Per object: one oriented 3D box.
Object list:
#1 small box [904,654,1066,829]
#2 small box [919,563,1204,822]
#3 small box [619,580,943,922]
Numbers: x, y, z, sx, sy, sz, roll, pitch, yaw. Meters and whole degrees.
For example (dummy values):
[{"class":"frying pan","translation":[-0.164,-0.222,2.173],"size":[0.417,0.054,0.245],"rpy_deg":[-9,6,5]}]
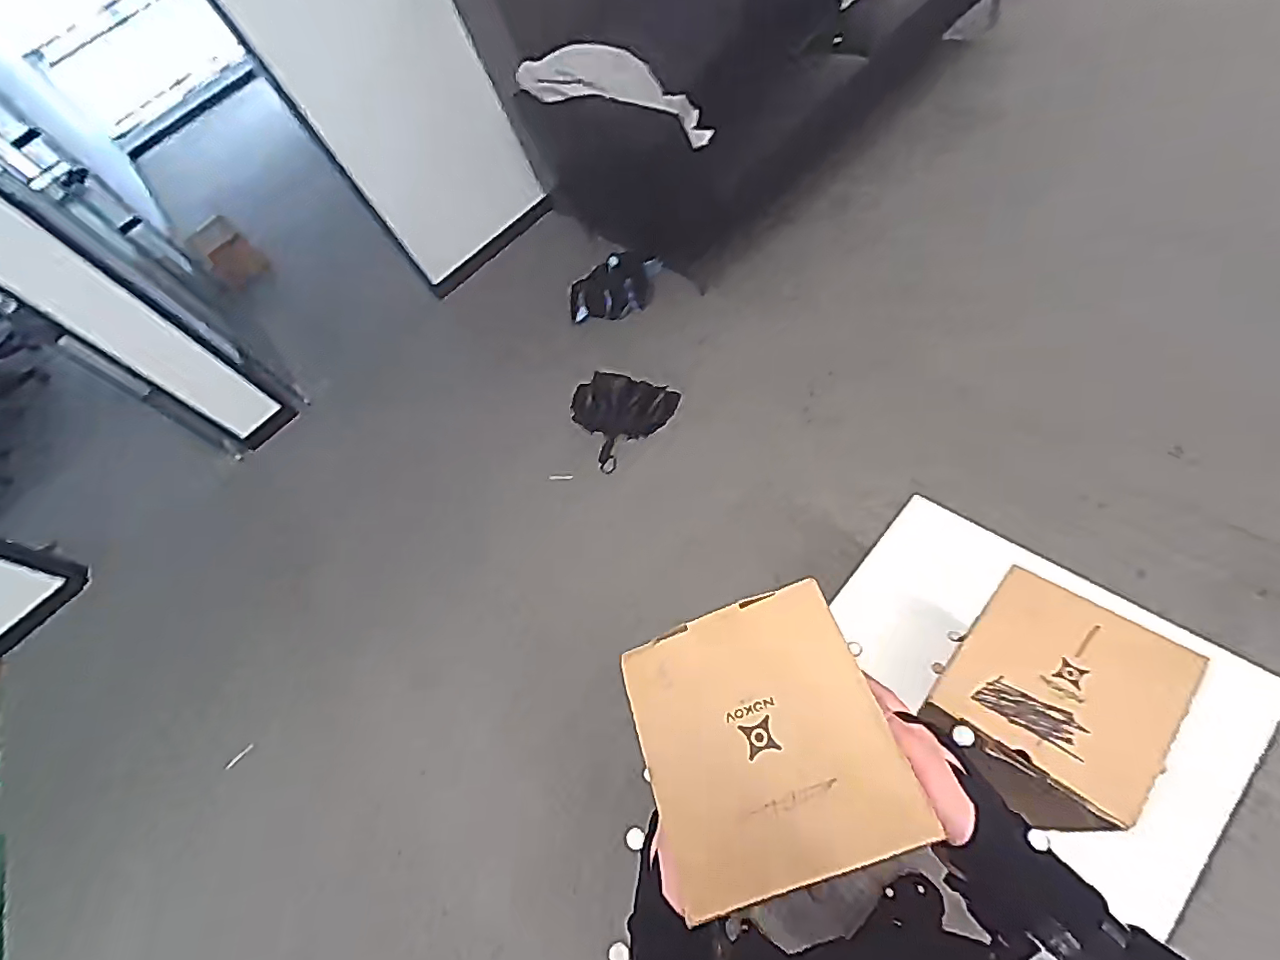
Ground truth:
[{"class":"small box","translation":[0.465,0.315,0.702],"size":[0.168,0.176,0.179],"rpy_deg":[30,71,34]},{"class":"small box","translation":[0.418,0.227,0.570],"size":[0.168,0.176,0.179],"rpy_deg":[31,71,33]},{"class":"small box","translation":[0.104,0.213,0.434],"size":[0.168,0.176,0.179],"rpy_deg":[-25,54,6]}]
